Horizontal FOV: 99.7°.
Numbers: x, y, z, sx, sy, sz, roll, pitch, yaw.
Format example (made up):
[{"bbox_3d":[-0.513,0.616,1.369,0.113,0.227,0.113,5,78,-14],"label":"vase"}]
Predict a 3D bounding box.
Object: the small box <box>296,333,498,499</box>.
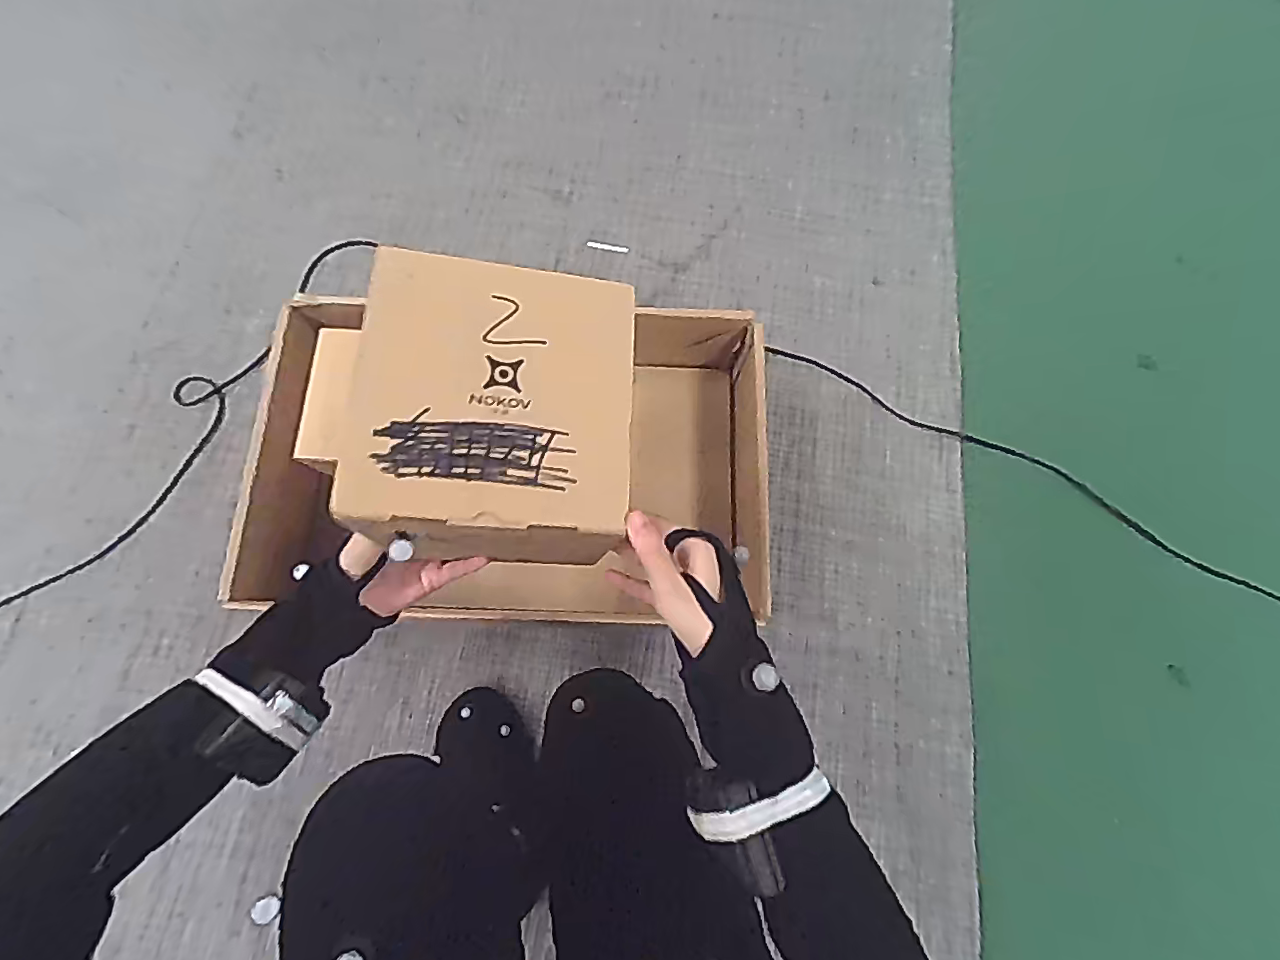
[{"bbox_3d":[-0.300,-0.074,0.709,0.179,0.176,0.168,3,76,-1],"label":"small box"}]
